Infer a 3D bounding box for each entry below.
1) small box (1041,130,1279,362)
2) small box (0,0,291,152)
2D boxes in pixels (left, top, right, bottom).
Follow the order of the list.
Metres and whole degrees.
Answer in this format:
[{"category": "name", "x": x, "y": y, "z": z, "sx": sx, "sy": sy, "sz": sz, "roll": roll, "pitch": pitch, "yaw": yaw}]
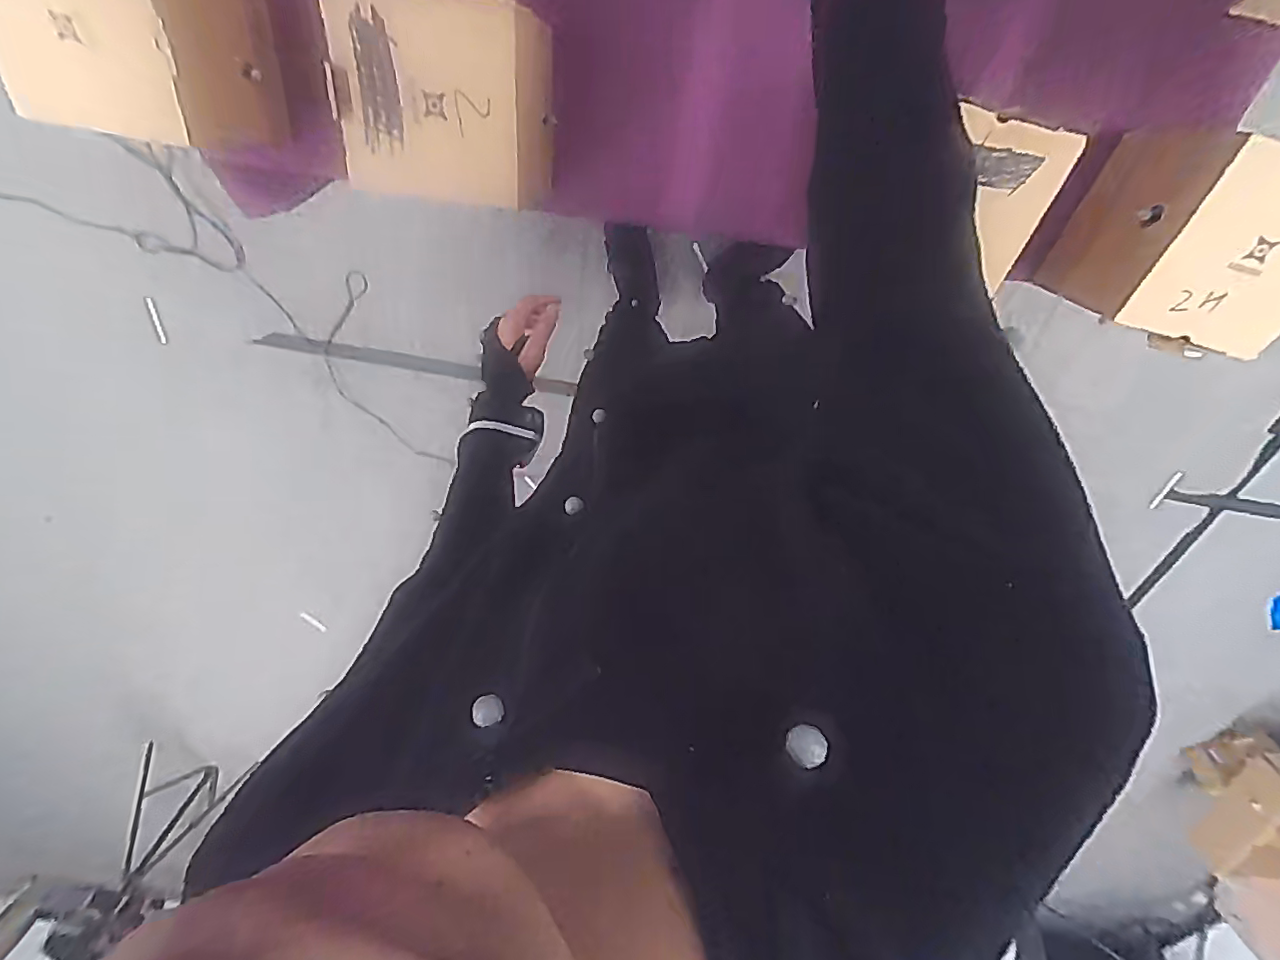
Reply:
[{"category": "small box", "x": 0.595, "y": -0.258, "z": 0.588, "sx": 0.168, "sy": 0.176, "sz": 0.179, "roll": 15, "pitch": 123, "yaw": -3}, {"category": "small box", "x": -0.514, "y": -0.453, "z": 0.566, "sx": 0.179, "sy": 0.176, "sz": 0.168, "roll": 8, "pitch": 124, "yaw": -2}]
